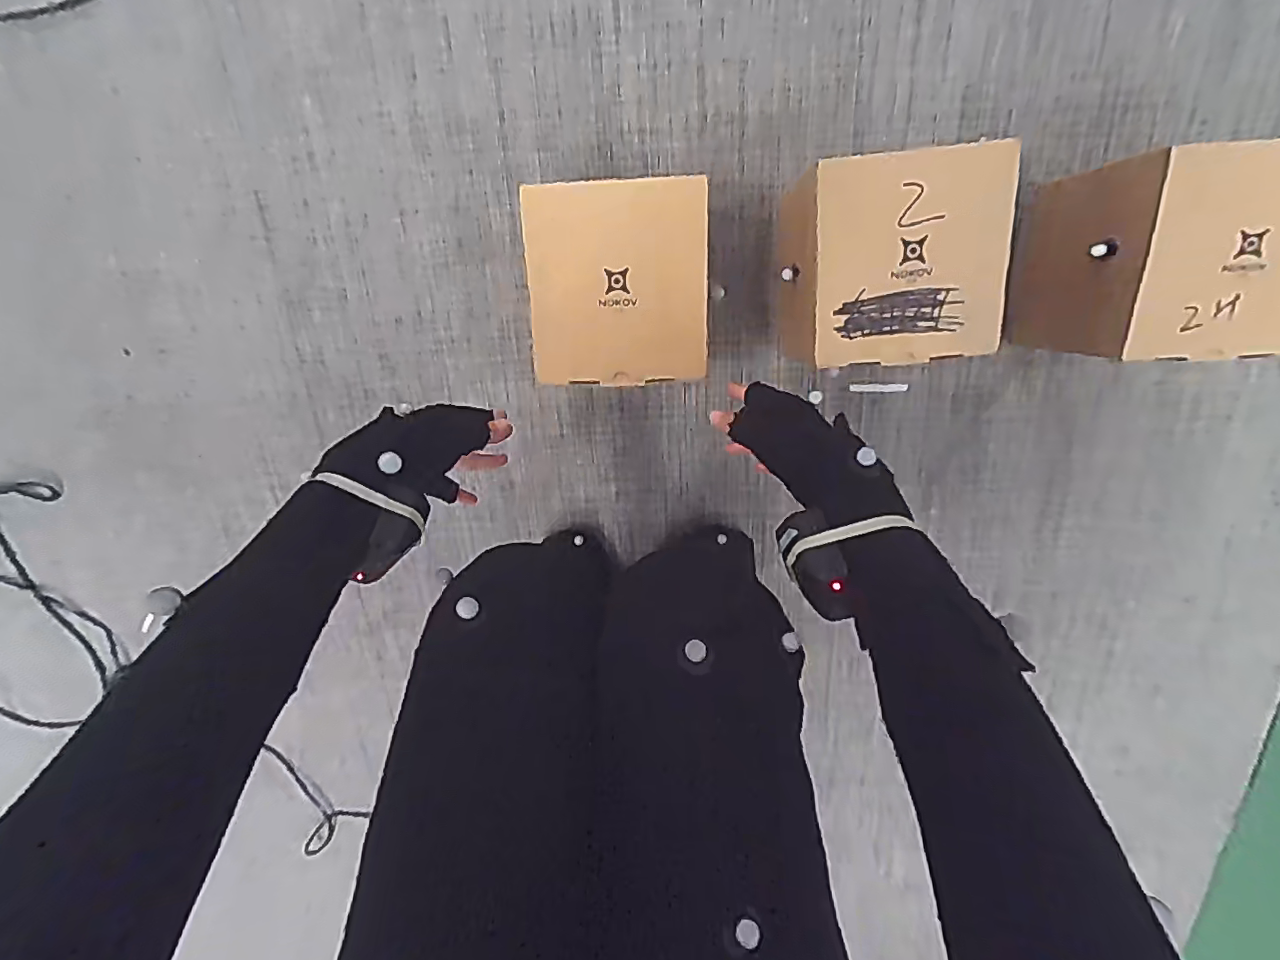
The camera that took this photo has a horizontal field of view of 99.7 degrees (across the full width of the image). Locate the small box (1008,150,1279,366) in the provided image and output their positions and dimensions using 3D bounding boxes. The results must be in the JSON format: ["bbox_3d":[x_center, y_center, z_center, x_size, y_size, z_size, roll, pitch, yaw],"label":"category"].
[{"bbox_3d":[0.514,-0.215,0.549,0.168,0.176,0.179,-1,109,4],"label":"small box"}]

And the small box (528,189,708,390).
[{"bbox_3d":[-0.015,-0.198,0.583,0.168,0.176,0.179,-1,109,4],"label":"small box"}]
